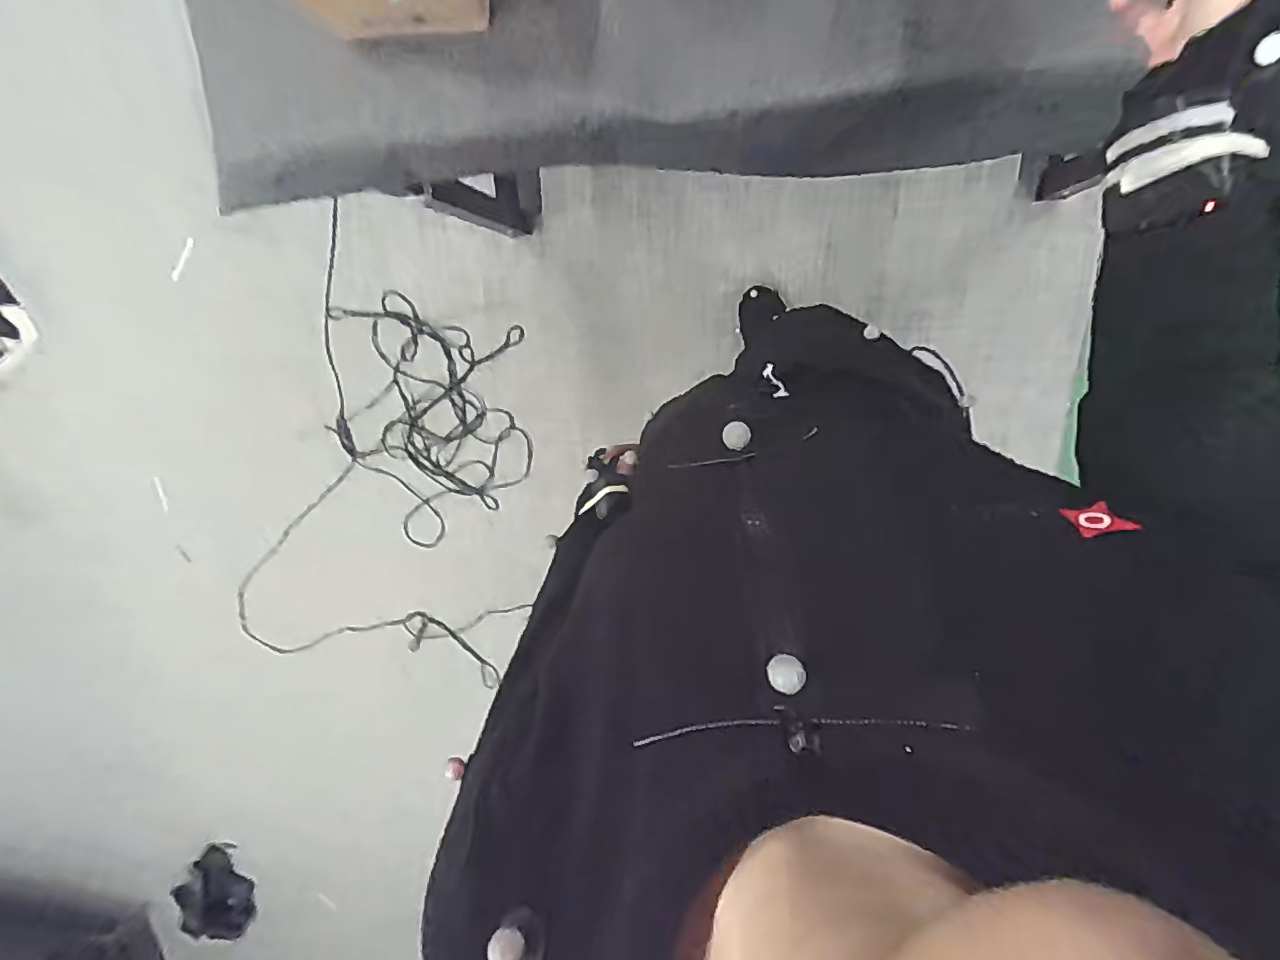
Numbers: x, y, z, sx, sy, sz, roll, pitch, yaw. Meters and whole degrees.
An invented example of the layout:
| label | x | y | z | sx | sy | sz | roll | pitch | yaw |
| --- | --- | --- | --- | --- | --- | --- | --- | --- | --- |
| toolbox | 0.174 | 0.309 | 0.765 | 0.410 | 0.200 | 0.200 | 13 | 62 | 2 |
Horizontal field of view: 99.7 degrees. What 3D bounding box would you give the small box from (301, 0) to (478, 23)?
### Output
| label | x | y | z | sx | sy | sz | roll | pitch | yaw |
| --- | --- | --- | --- | --- | --- | --- | --- | --- | --- |
| small box | -0.240 | -0.503 | 0.430 | 0.168 | 0.176 | 0.179 | 3 | 106 | 9 |
